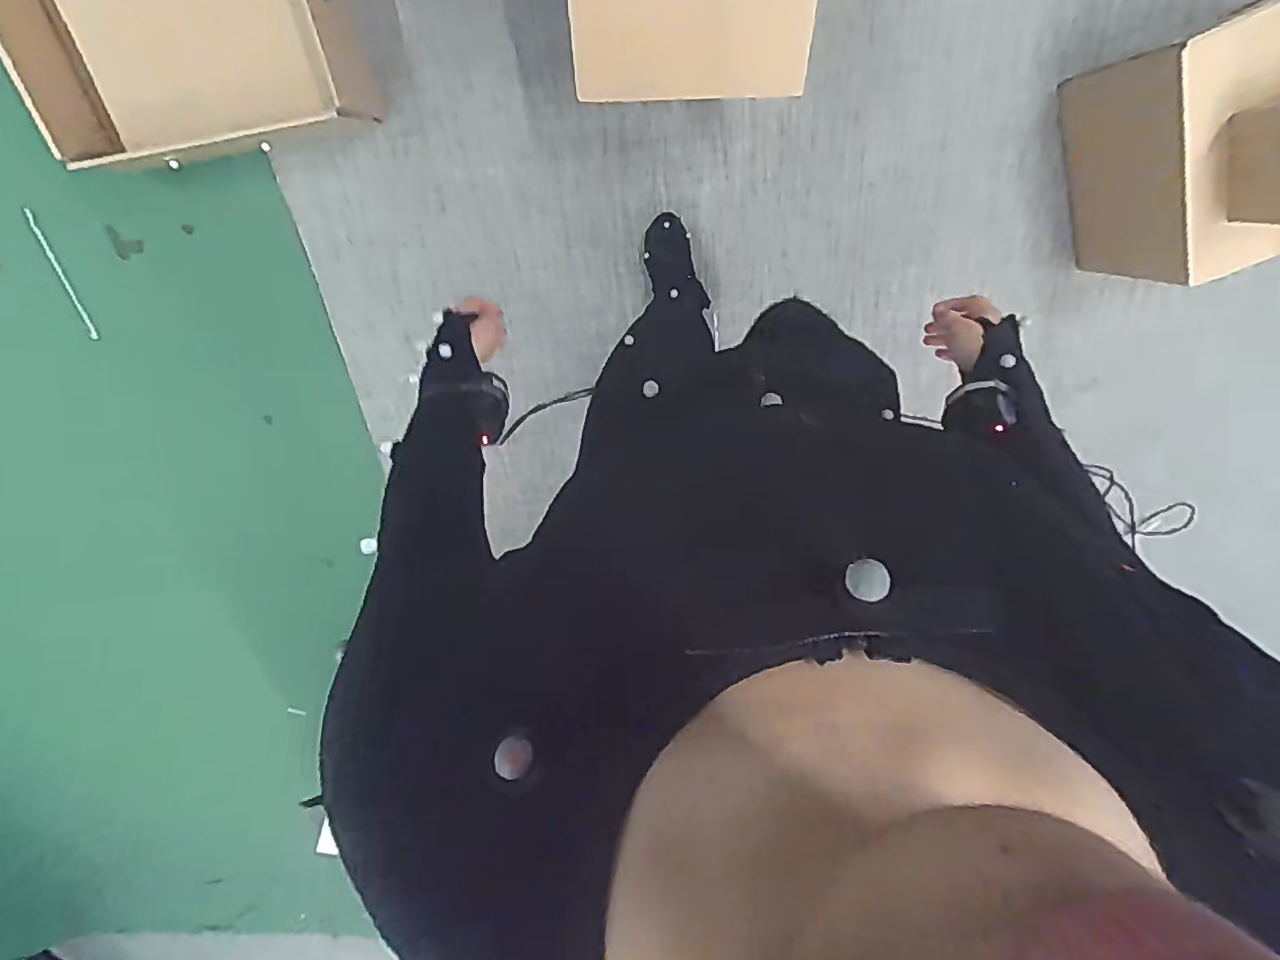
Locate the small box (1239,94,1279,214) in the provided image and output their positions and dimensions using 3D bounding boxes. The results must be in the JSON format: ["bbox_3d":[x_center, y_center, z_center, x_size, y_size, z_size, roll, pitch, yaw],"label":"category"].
[{"bbox_3d":[1.071,-0.520,0.815,0.168,0.176,0.179,-20,114,15],"label":"small box"}]
